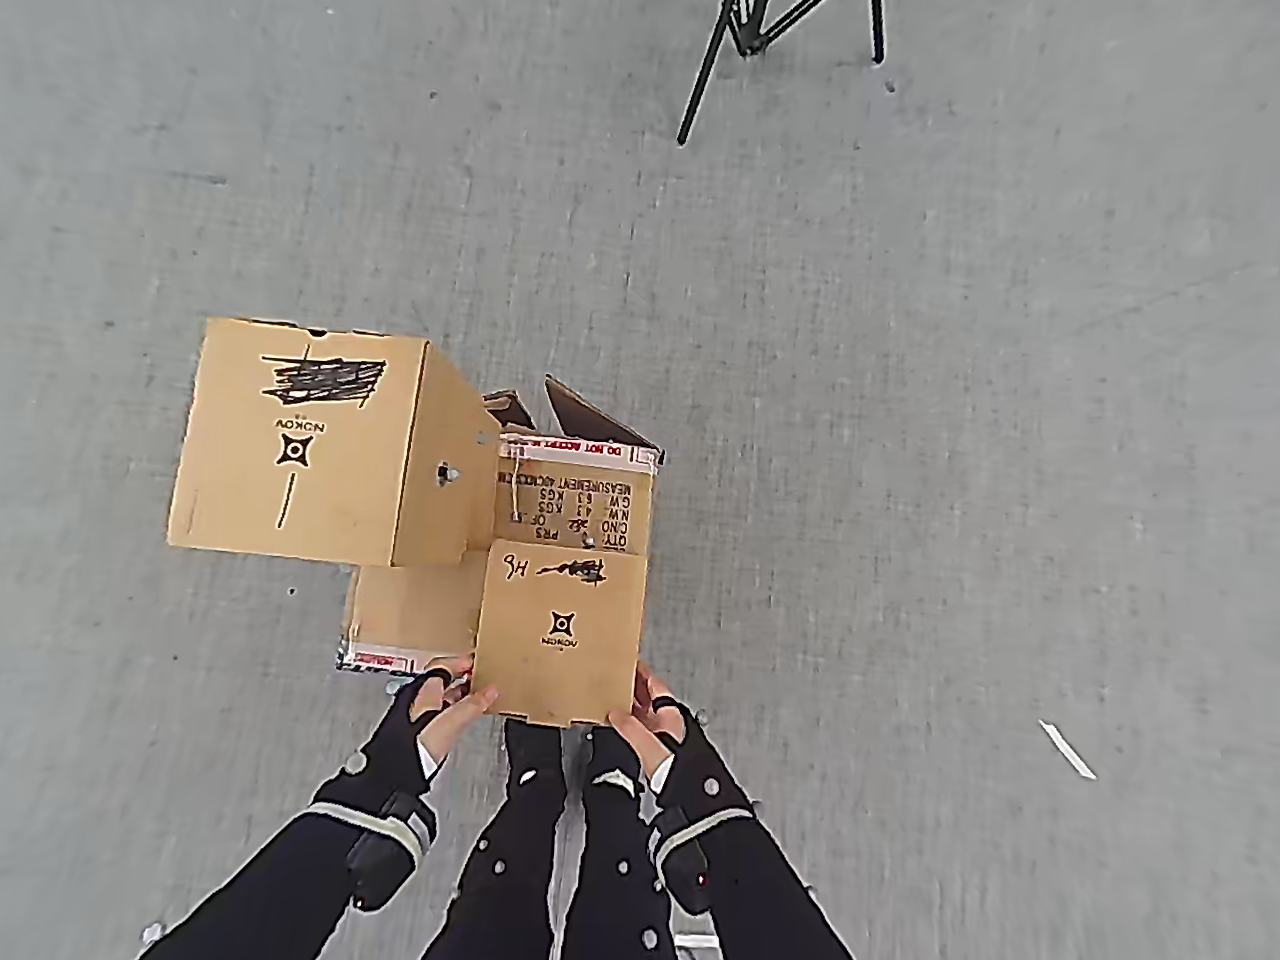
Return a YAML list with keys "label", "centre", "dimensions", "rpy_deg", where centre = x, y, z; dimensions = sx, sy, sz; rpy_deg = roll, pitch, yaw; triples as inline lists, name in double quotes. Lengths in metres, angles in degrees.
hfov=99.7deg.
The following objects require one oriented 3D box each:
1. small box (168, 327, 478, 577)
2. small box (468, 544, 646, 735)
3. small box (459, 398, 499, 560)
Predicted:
- label: "small box"
  centre: [-0.253, -0.013, 0.480]
  dimensions: [0.168, 0.176, 0.179]
  rpy_deg: [6, 83, 0]
- label: "small box"
  centre: [-0.086, 0.170, 0.629]
  dimensions: [0.168, 0.176, 0.179]
  rpy_deg: [6, 83, -3]
- label: "small box"
  centre: [-0.271, 0.003, 0.643]
  dimensions: [0.168, 0.176, 0.179]
  rpy_deg: [2, 83, -1]
